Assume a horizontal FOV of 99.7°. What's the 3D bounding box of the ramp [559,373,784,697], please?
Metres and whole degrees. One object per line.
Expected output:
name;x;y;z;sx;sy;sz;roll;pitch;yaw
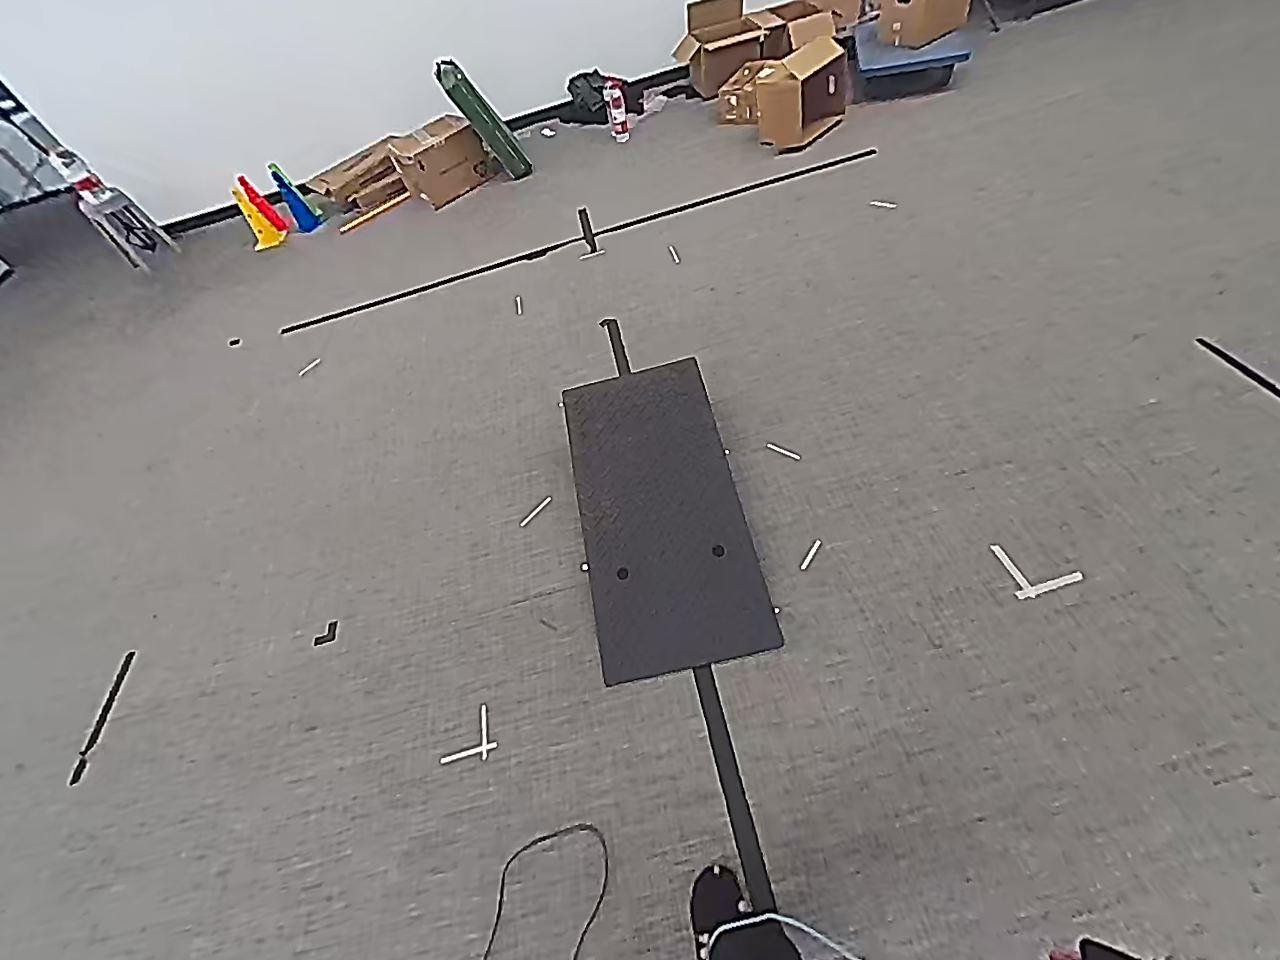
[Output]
ramp;0.052;0.104;1.684;0.509;0.206;0.991;-16;50;1
